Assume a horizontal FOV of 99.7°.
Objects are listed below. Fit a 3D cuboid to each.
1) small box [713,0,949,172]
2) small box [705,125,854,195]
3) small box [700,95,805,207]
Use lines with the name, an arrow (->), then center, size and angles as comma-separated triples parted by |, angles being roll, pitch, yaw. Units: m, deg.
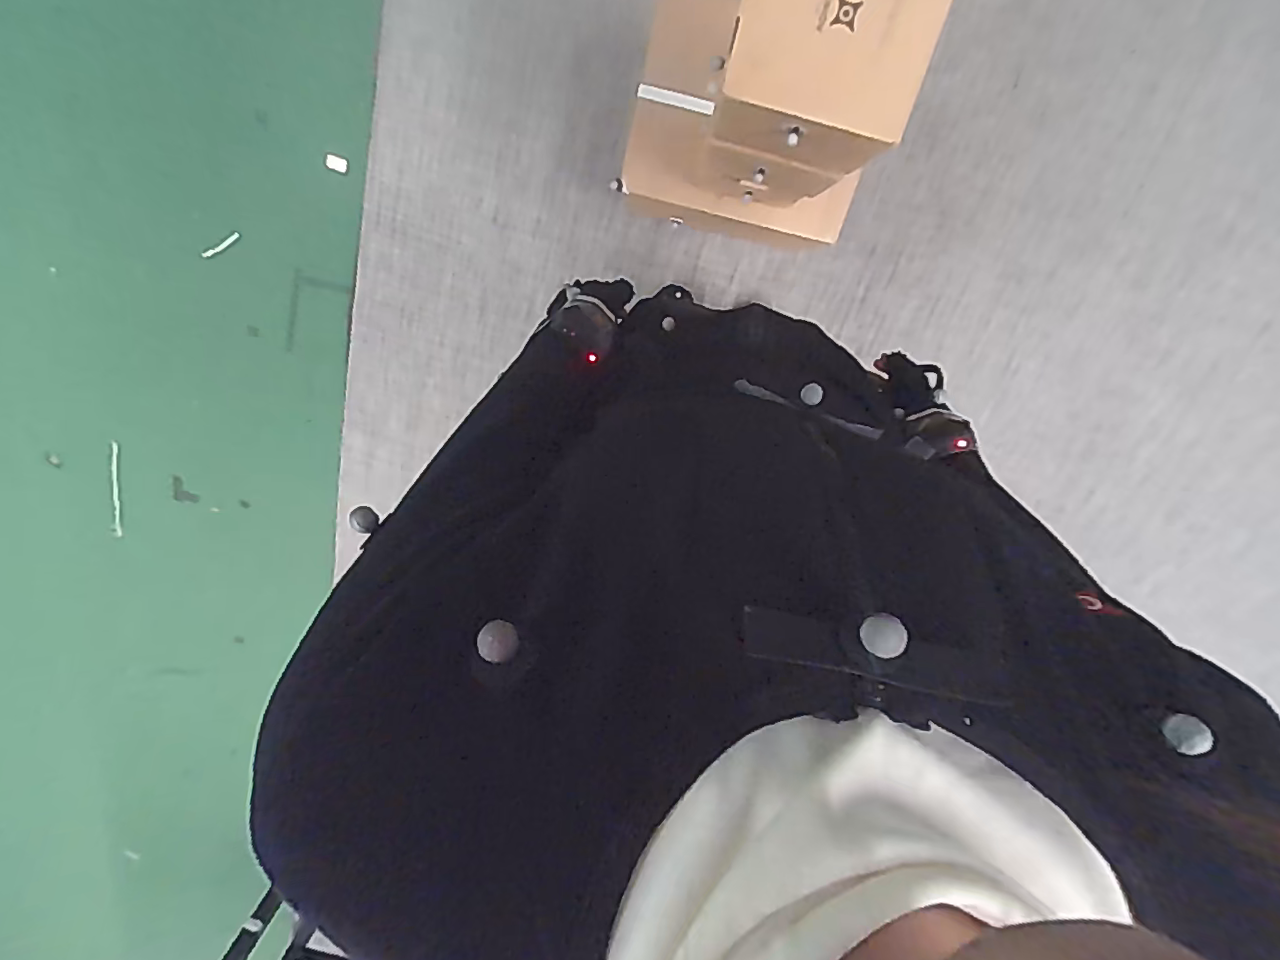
small box -> 0.179, -0.431, 0.546 | 0.179, 0.176, 0.168 | 14, 112, -2
small box -> 0.189, -0.481, 0.700 | 0.179, 0.176, 0.168 | 12, 111, -1
small box -> 0.195, -0.546, 0.851 | 0.168, 0.176, 0.179 | 13, 111, 0
